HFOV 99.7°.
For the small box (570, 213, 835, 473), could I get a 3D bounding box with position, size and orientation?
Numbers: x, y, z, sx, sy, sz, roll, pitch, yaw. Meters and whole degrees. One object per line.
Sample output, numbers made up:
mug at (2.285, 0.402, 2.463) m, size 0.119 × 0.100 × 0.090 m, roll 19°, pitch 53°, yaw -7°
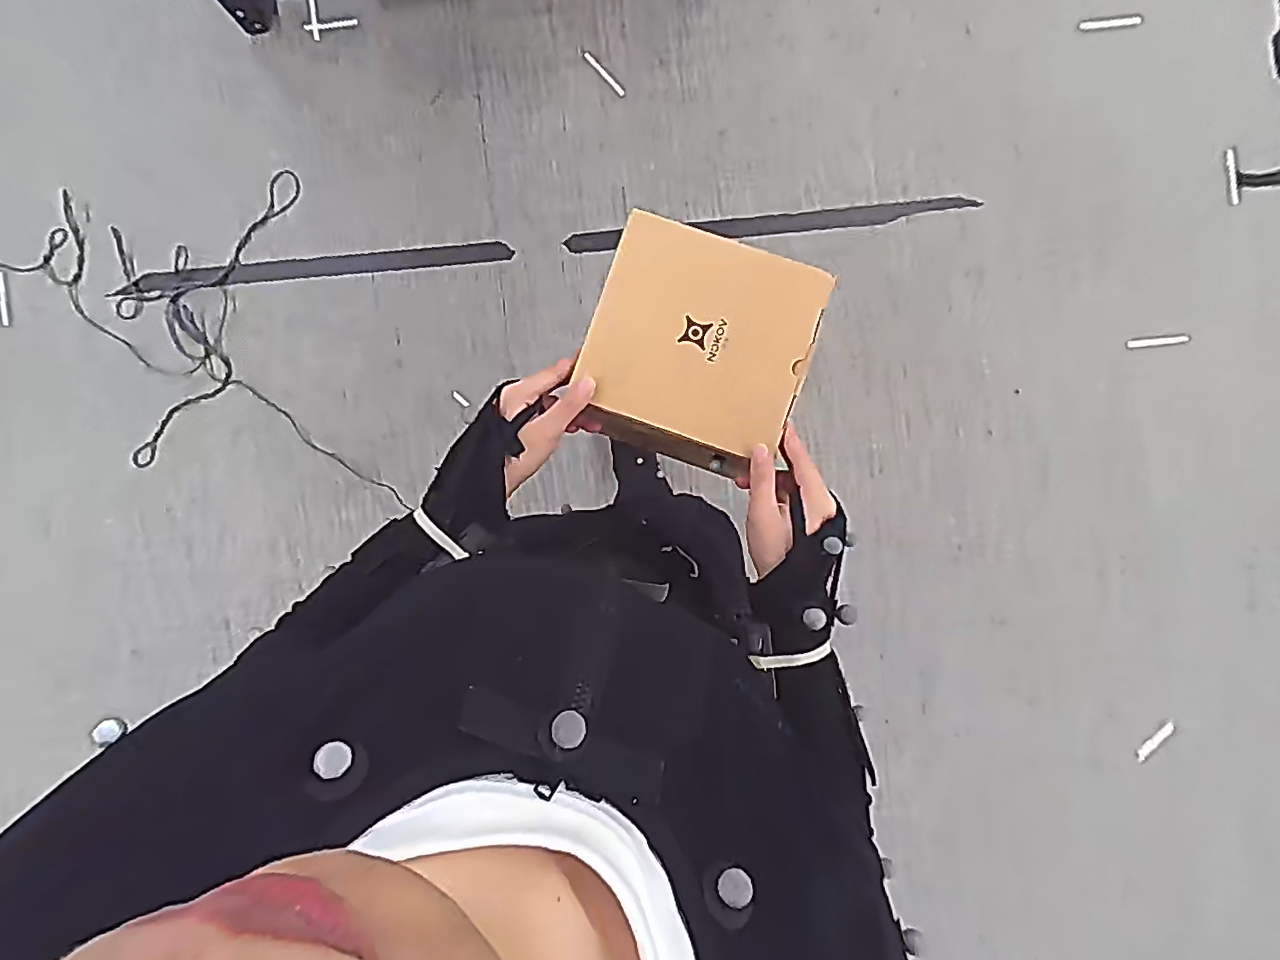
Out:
small box at (0.052, -0.111, 0.513) m, size 0.179 × 0.176 × 0.168 m, roll 19°, pitch 87°, yaw 2°
